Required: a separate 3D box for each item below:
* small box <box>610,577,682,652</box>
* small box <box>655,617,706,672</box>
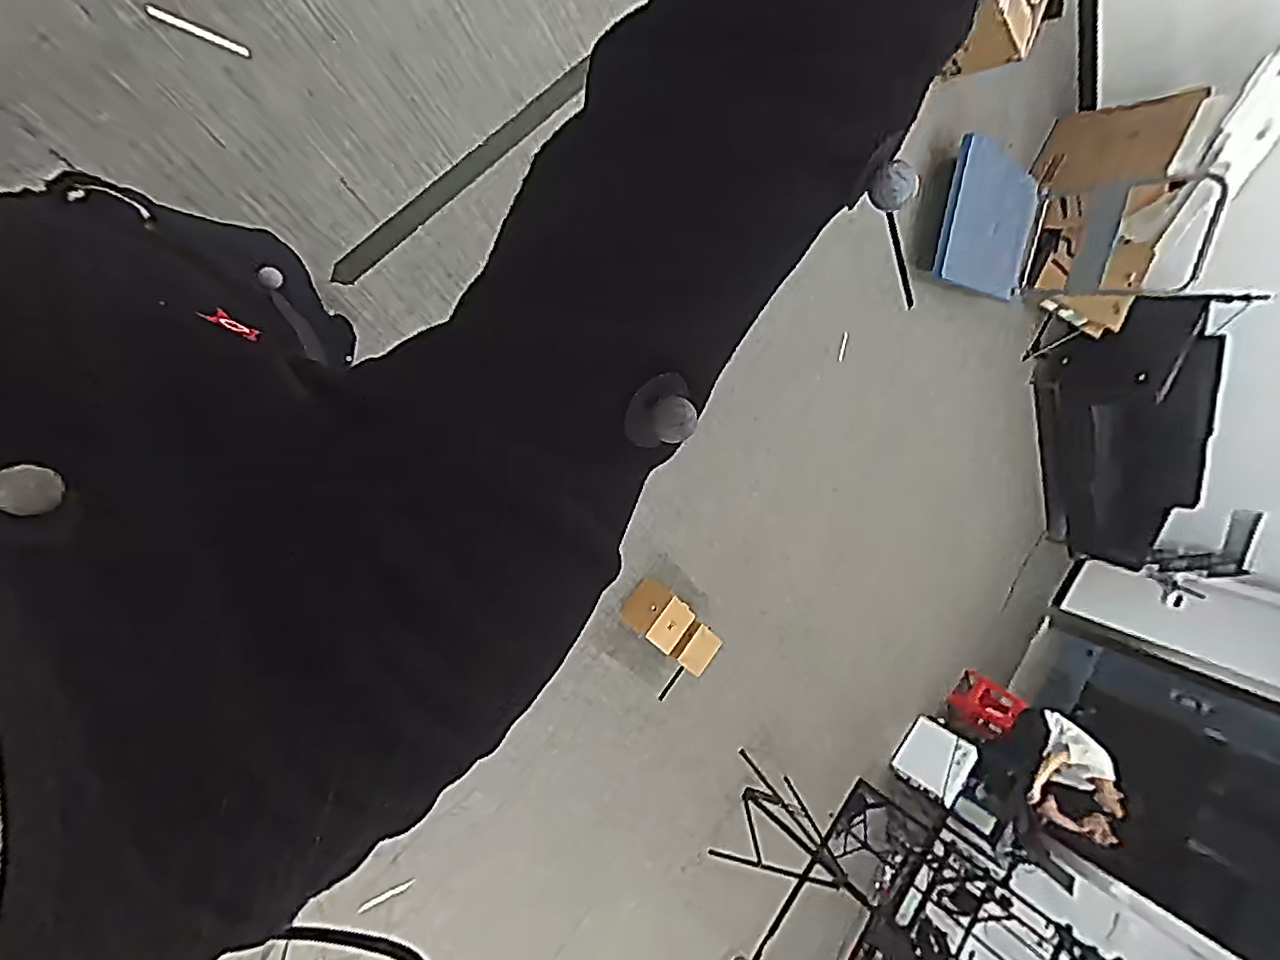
[{"bbox_3d":[0.015,0.487,1.973,0.179,0.176,0.168,-52,130,-14],"label":"small box"},{"bbox_3d":[0.132,0.620,2.110,0.168,0.176,0.179,-53,130,-13],"label":"small box"}]
